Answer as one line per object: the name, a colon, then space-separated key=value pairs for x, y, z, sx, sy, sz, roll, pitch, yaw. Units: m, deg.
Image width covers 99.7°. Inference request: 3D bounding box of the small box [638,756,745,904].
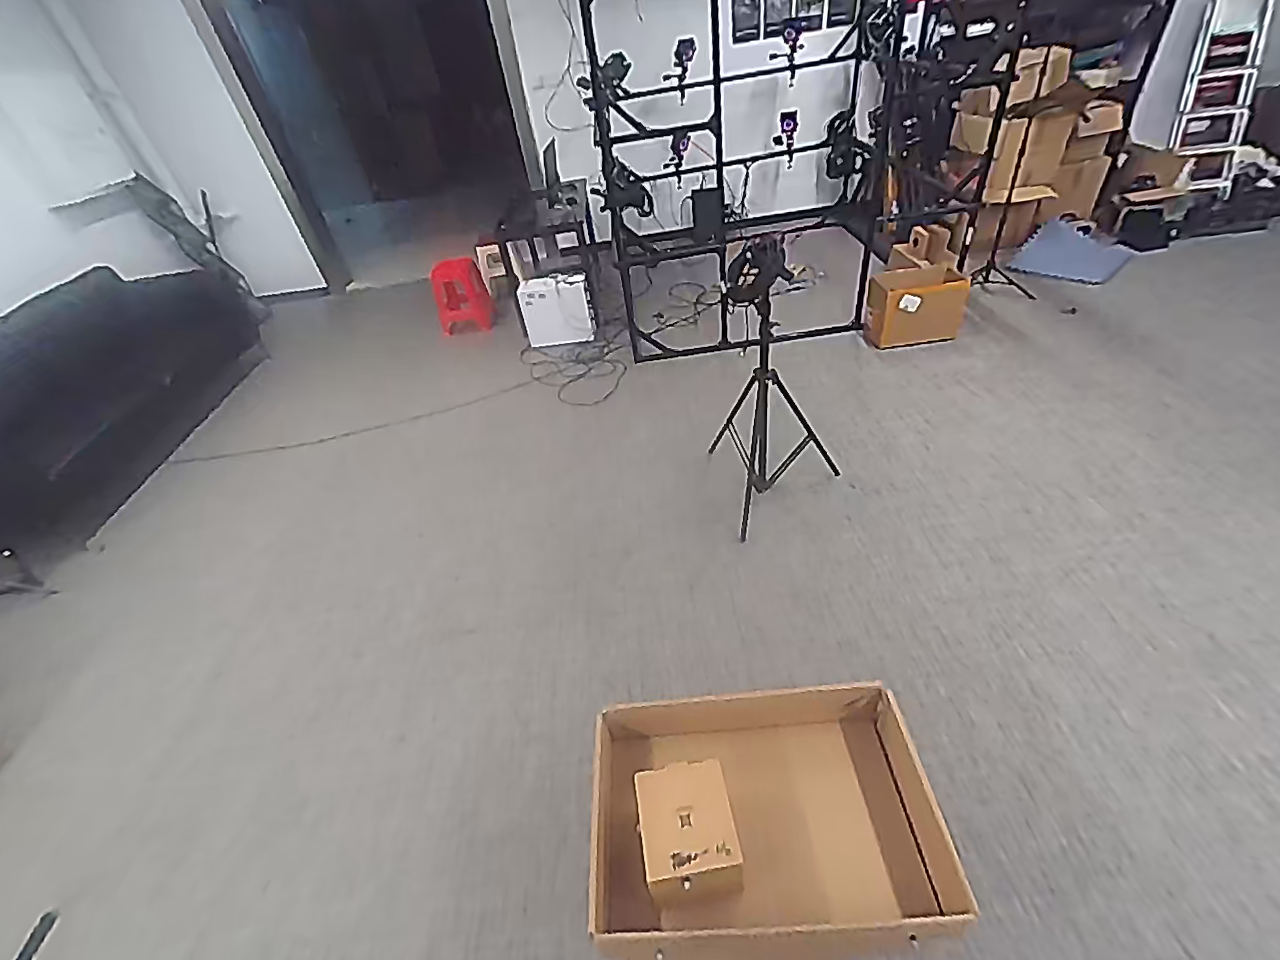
small box: x=0.094 y=0.653 z=1.010 sx=0.168 sy=0.176 sz=0.179 roll=-11 pitch=40 yaw=0
